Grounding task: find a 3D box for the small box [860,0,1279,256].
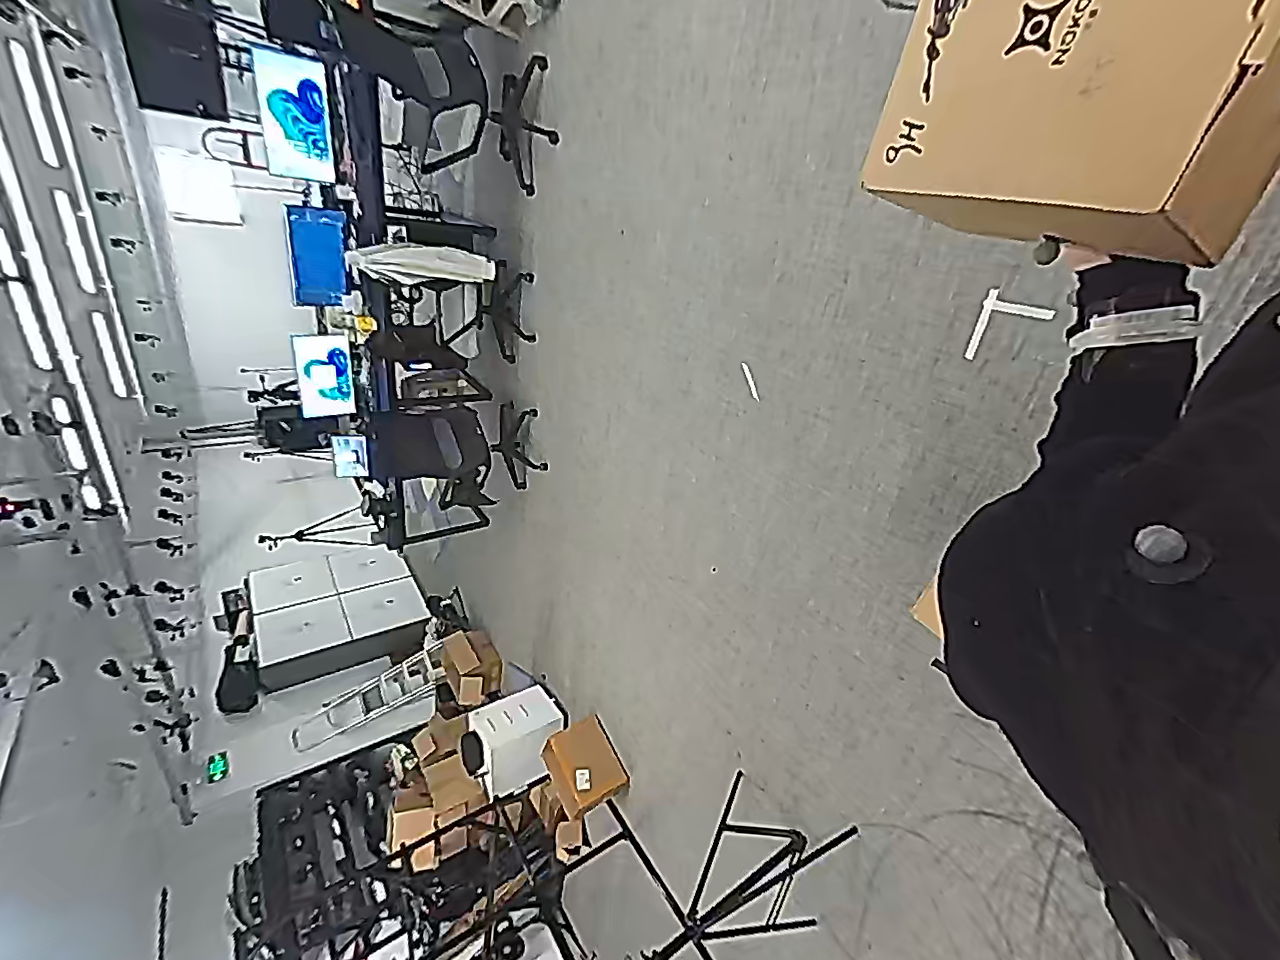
[{"bbox_3d":[0.281,-0.244,0.331,0.179,0.176,0.168,38,124,43],"label":"small box"}]
